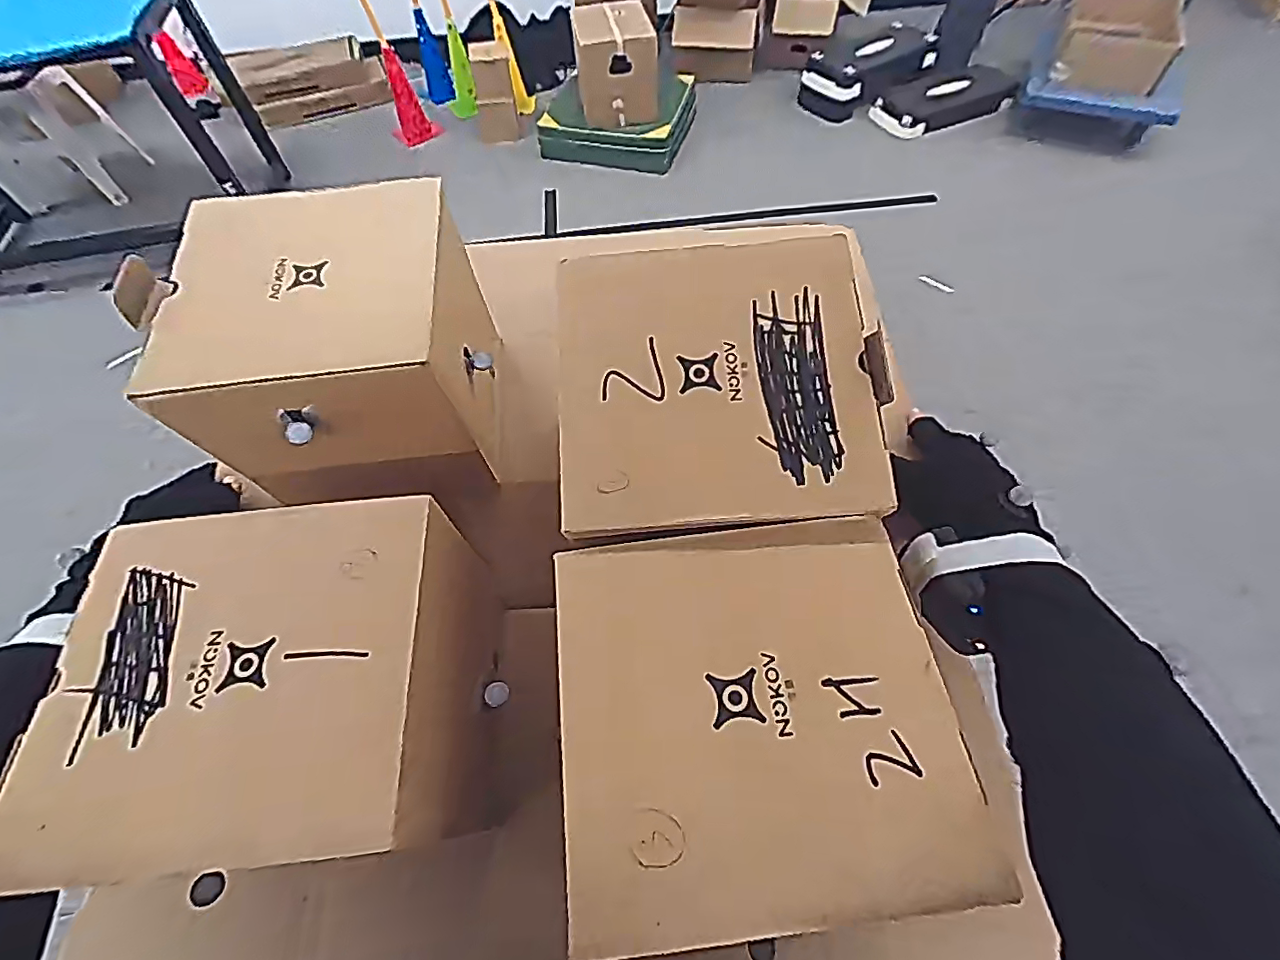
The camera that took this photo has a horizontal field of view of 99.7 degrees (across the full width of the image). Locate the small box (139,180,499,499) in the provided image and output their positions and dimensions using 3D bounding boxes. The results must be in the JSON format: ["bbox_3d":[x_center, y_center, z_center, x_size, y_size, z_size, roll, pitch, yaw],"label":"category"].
[{"bbox_3d":[-0.216,-0.098,0.426,0.179,0.176,0.168,-8,64,0],"label":"small box"}]
